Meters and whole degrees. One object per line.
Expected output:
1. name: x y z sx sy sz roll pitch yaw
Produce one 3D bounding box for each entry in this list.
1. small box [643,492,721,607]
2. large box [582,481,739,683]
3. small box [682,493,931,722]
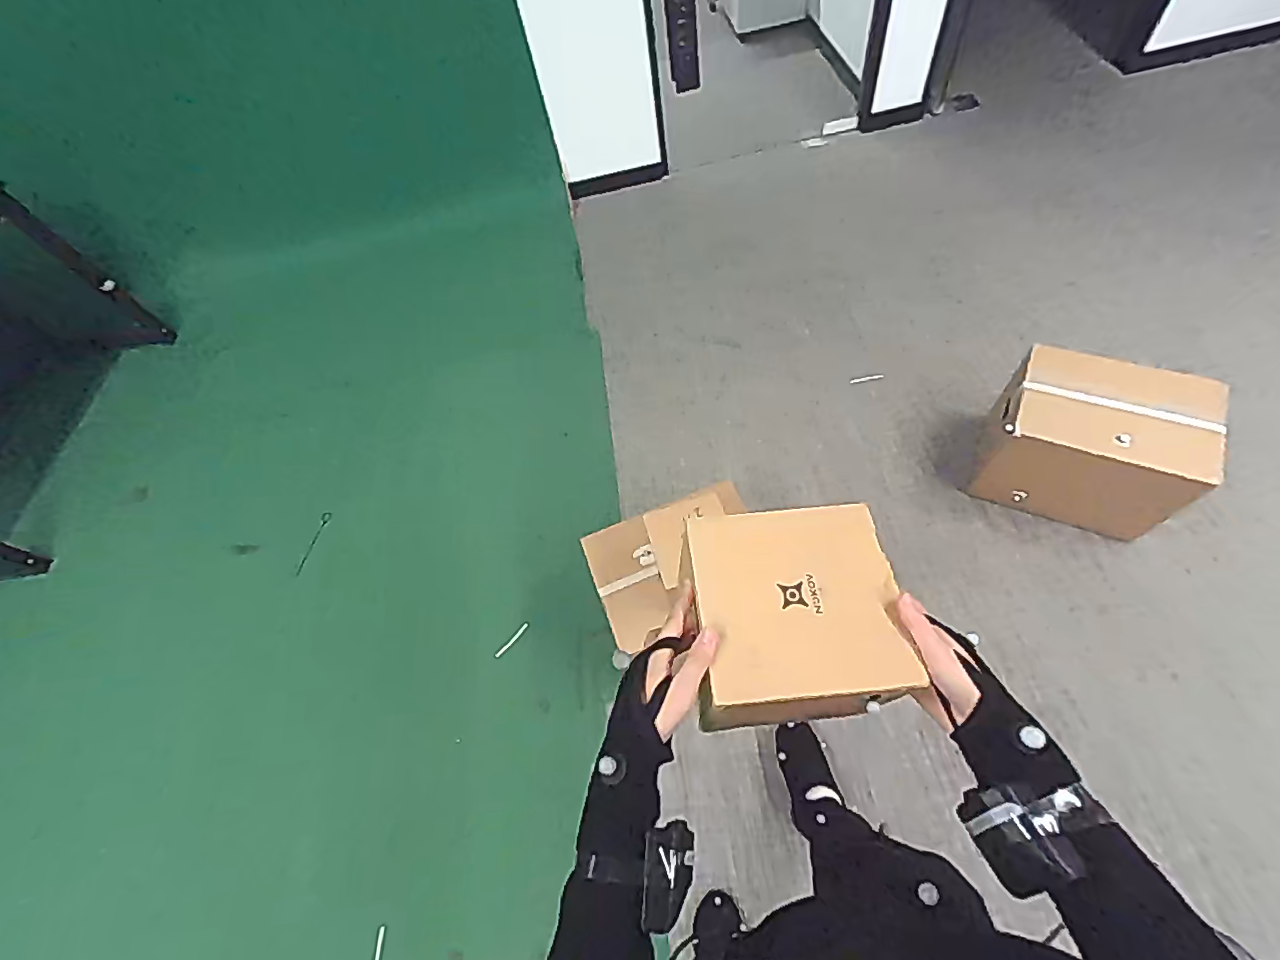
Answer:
1. small box: 0.115 0.157 1.153 0.168 0.176 0.179 -16 58 -2
2. large box: 0.115 0.269 1.377 0.408 0.320 0.320 -22 57 -3
3. small box: 0.137 0.130 0.529 0.179 0.176 0.168 -5 57 -3
